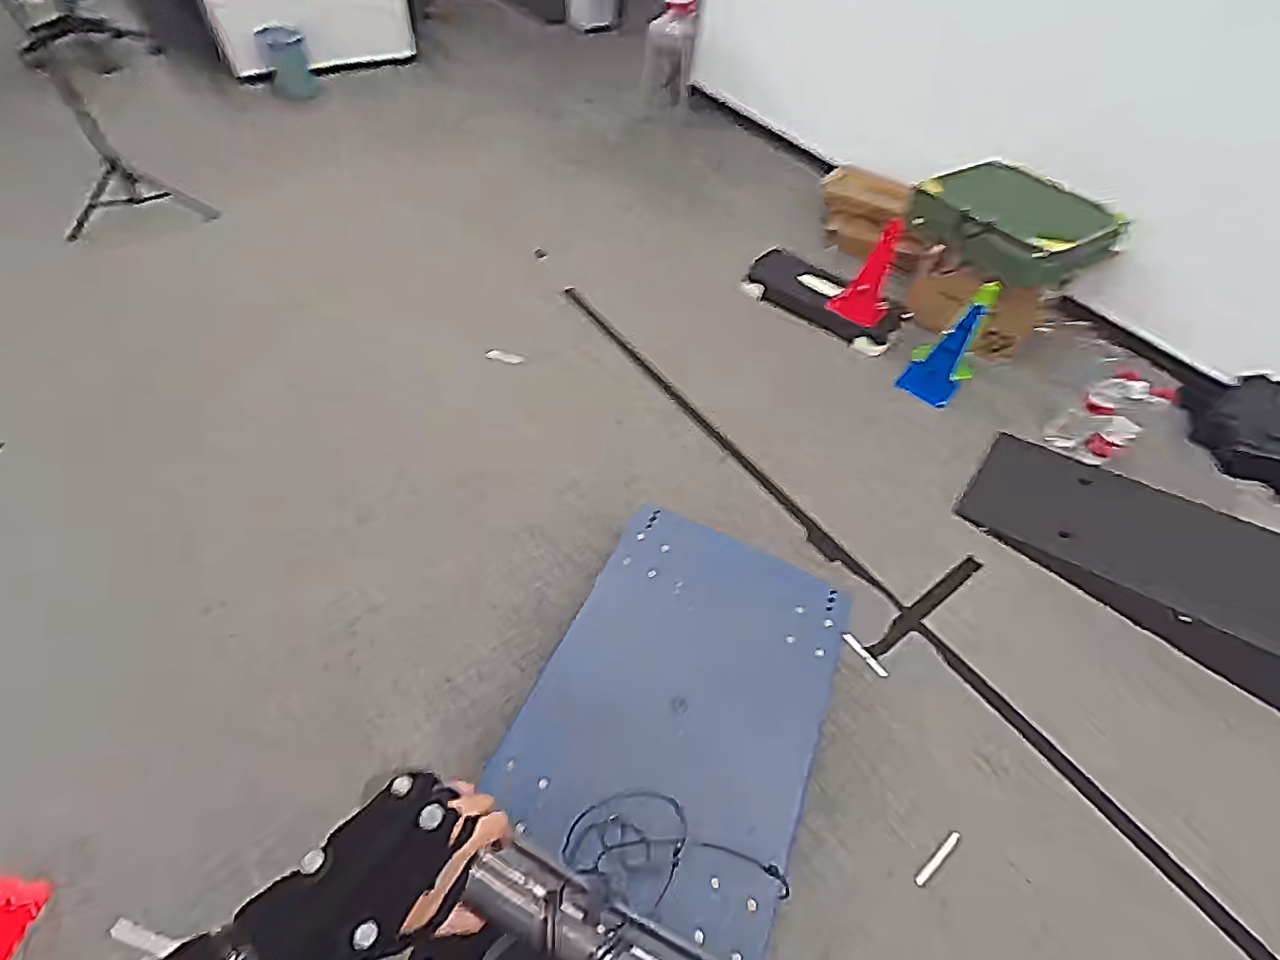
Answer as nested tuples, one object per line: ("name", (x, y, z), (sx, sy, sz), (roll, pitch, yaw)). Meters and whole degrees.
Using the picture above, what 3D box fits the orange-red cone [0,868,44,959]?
("orange-red cone", (-1.170, 0.695, 0.800), (0.199, 0.360, 0.198), (12, 54, 0))
